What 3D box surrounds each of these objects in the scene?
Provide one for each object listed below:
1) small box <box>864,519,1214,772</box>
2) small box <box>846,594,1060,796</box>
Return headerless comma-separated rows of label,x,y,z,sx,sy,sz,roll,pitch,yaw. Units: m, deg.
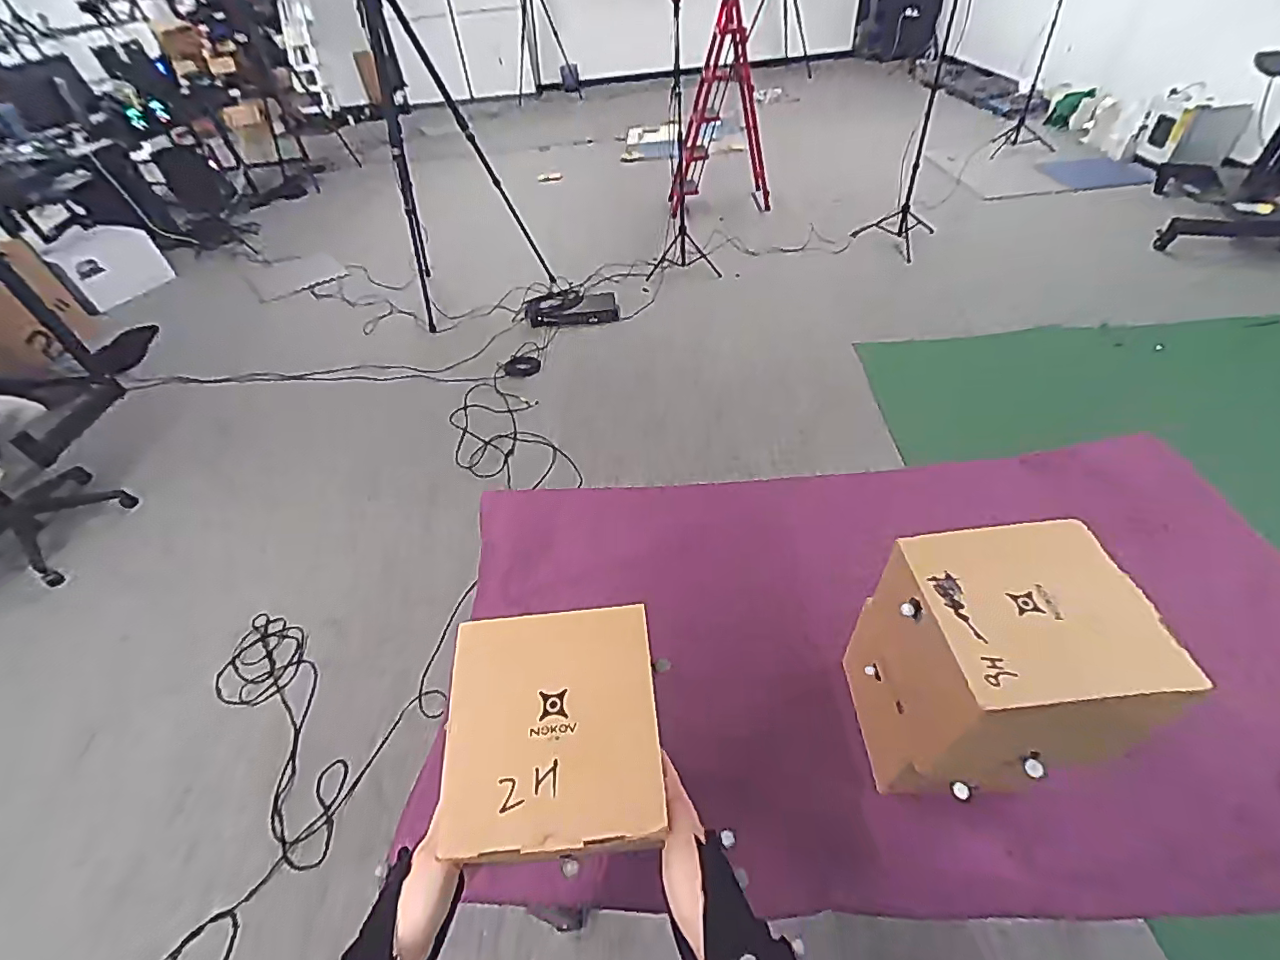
small box,0.337,0.157,0.507,0.179,0.176,0.168,-5,45,2
small box,0.359,0.252,0.641,0.168,0.176,0.179,-3,45,4
